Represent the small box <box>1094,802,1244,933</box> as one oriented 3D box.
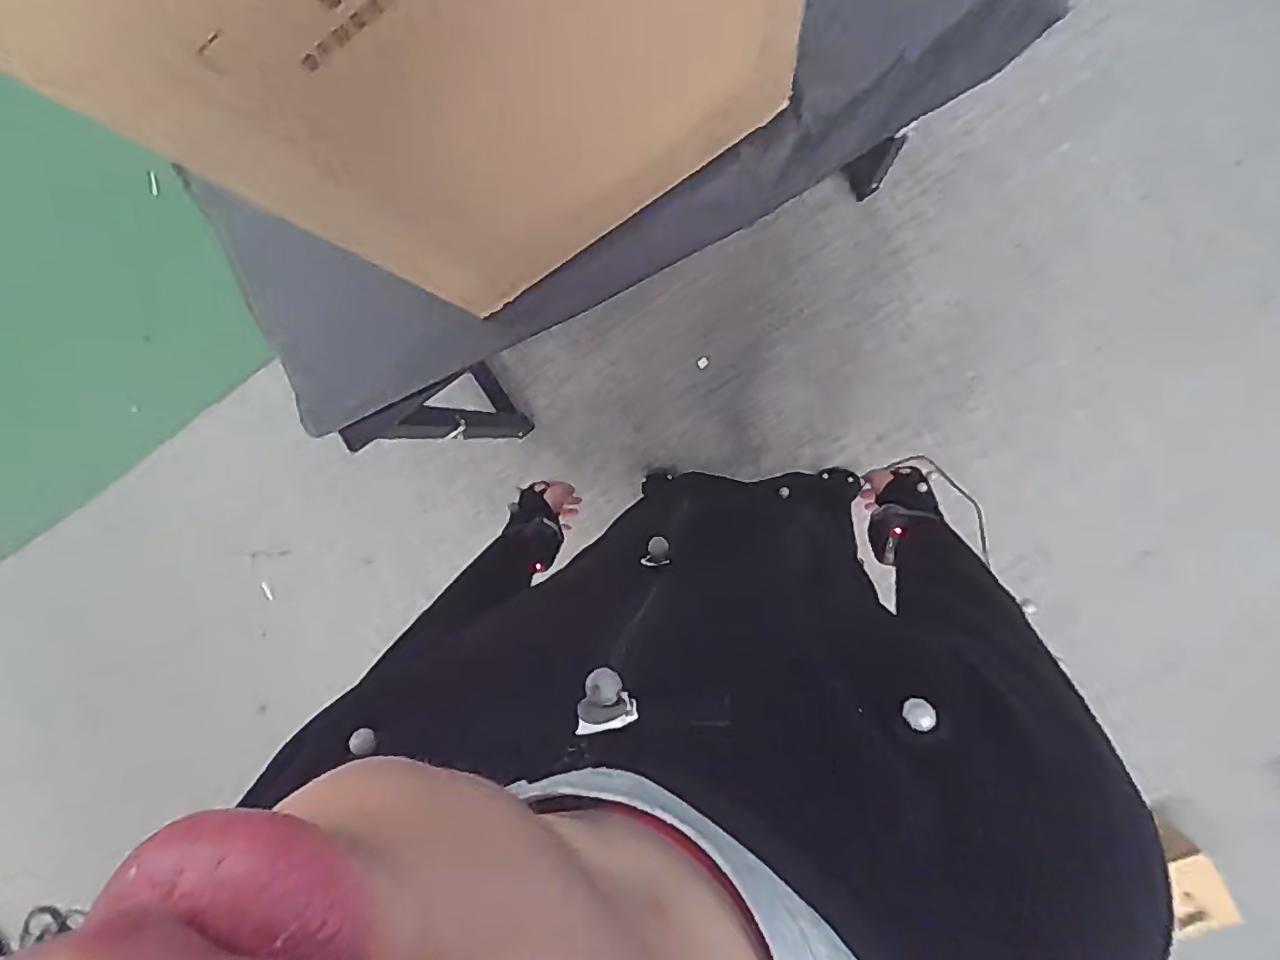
[{"bbox_3d":[1.288,0.944,1.330,0.168,0.176,0.179,-28,88,9],"label":"small box"}]
